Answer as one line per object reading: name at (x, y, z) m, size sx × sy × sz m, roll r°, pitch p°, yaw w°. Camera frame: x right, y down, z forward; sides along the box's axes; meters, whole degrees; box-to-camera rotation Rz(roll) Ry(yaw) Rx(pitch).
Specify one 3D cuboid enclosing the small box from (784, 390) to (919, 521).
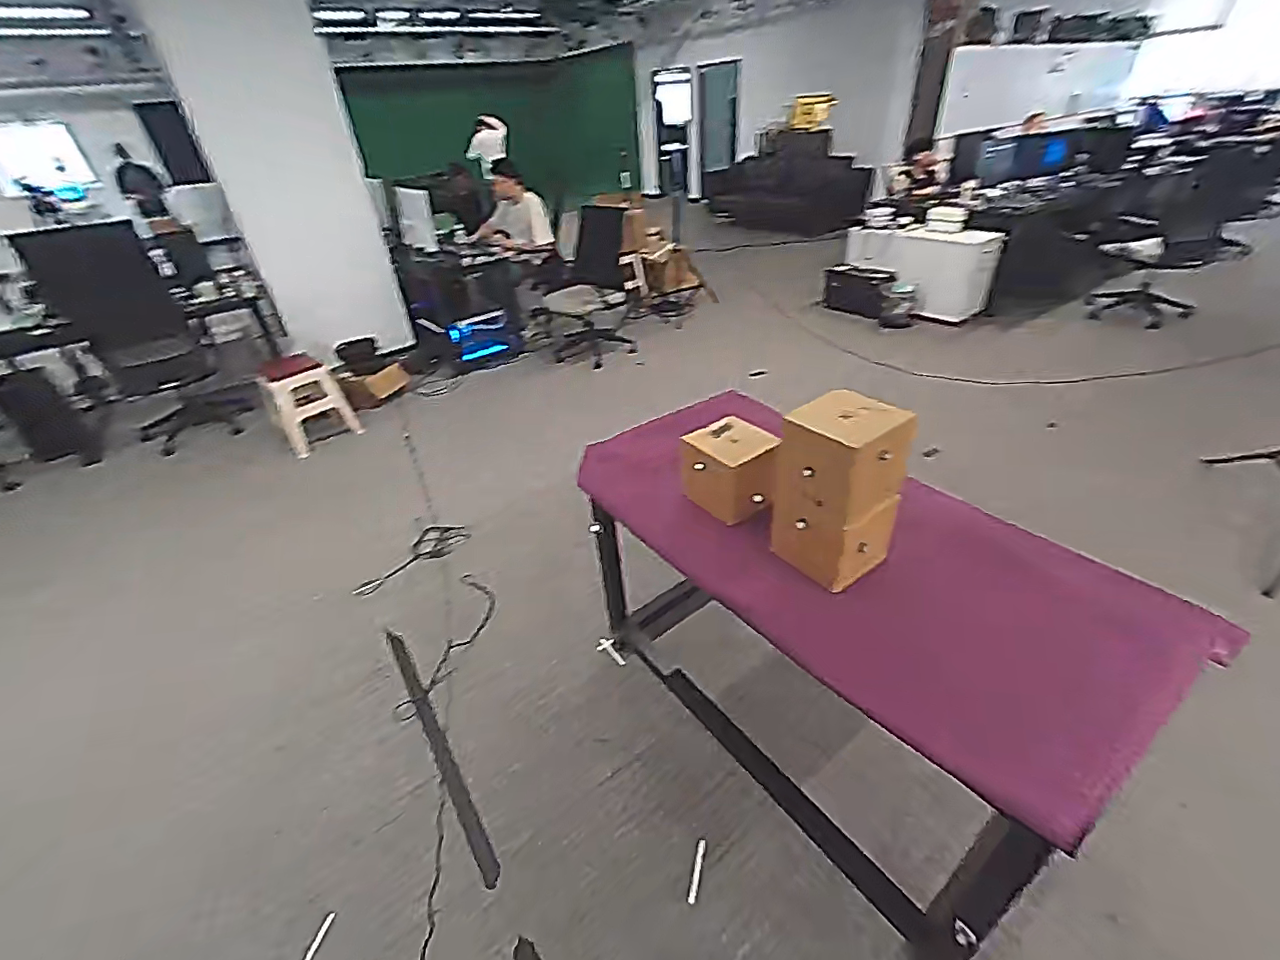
small box at (0.392, -0.048, 1.027) m, size 0.179 × 0.176 × 0.168 m, roll -25°, pitch 39°, yaw -27°

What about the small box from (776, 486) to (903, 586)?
small box at (0.402, 0.094, 1.112) m, size 0.168 × 0.176 × 0.179 m, roll -25°, pitch 39°, yaw -27°

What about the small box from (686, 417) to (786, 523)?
small box at (0.227, -0.025, 1.304) m, size 0.168 × 0.176 × 0.179 m, roll -26°, pitch 40°, yaw -27°
